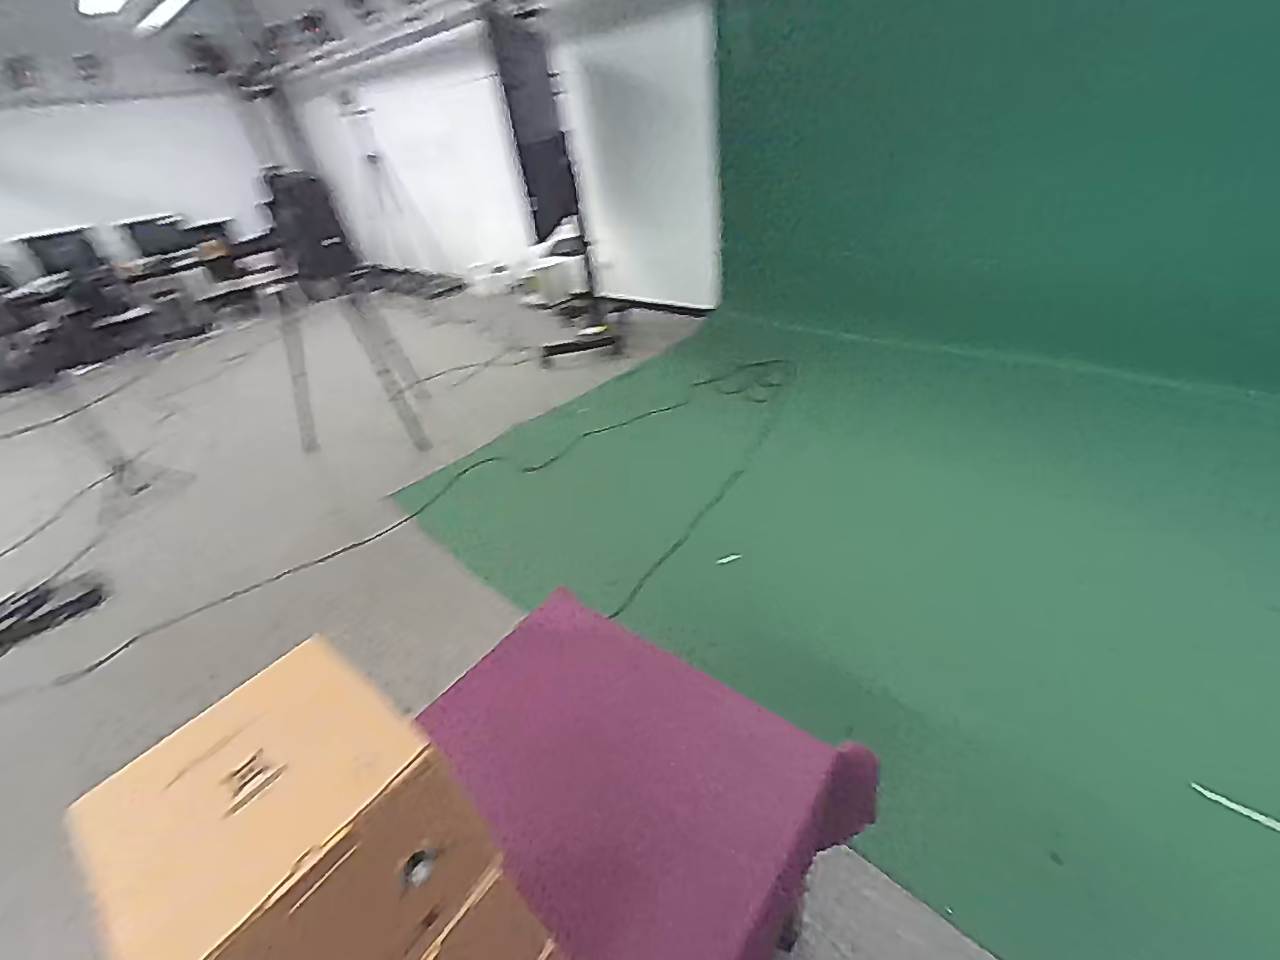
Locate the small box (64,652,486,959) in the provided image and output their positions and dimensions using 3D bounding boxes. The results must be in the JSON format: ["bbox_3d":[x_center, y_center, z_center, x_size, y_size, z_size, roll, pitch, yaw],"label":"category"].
[{"bbox_3d":[-0.241,0.268,0.390,0.179,0.176,0.168,17,41,35],"label":"small box"}]
